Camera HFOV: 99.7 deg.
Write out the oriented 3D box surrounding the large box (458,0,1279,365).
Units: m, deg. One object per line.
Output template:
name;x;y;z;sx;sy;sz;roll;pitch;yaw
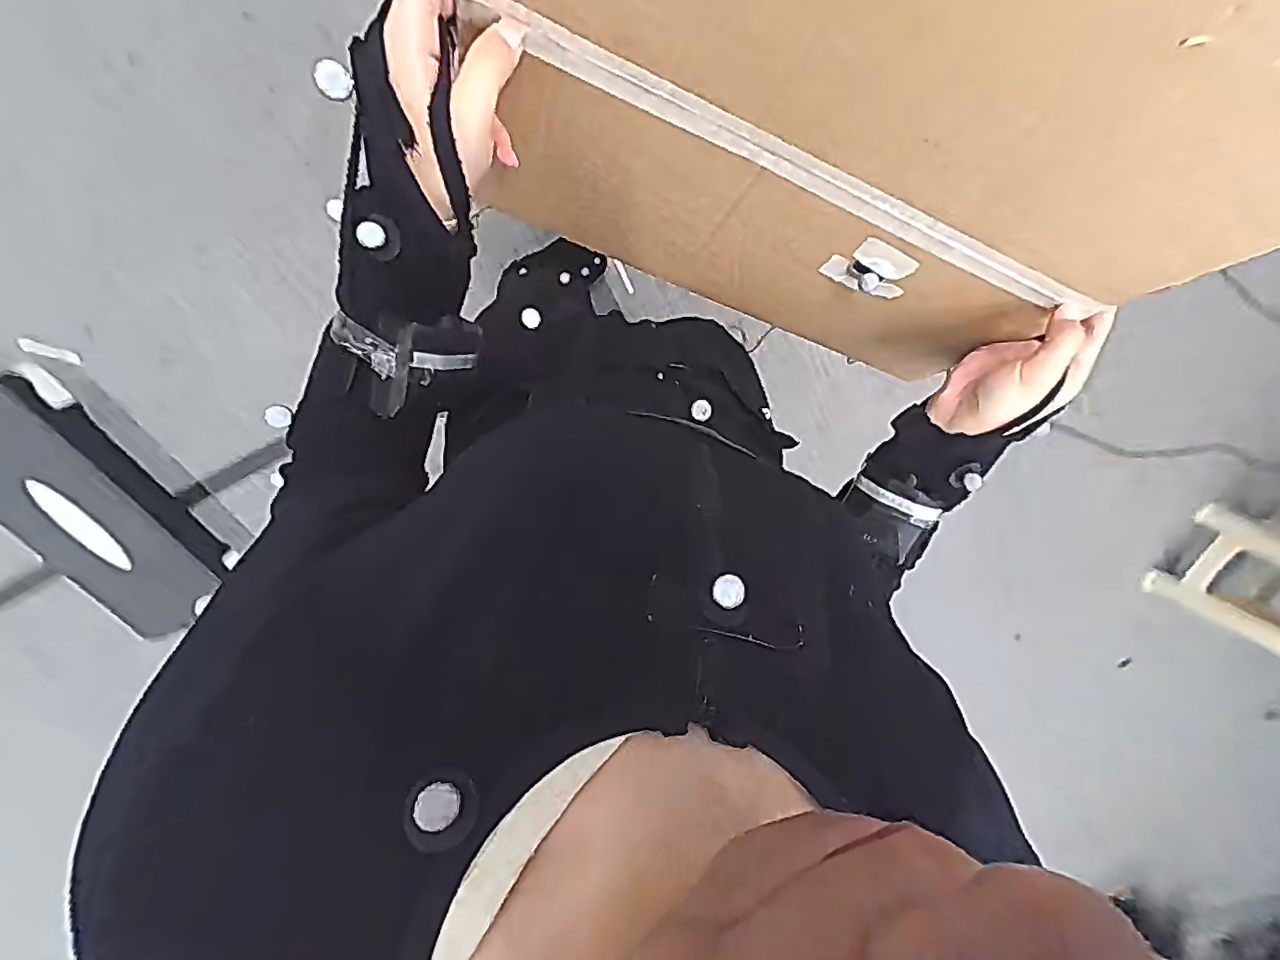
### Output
large box;0.128;-0.315;0.328;0.408;0.320;0.320;15;81;-15
